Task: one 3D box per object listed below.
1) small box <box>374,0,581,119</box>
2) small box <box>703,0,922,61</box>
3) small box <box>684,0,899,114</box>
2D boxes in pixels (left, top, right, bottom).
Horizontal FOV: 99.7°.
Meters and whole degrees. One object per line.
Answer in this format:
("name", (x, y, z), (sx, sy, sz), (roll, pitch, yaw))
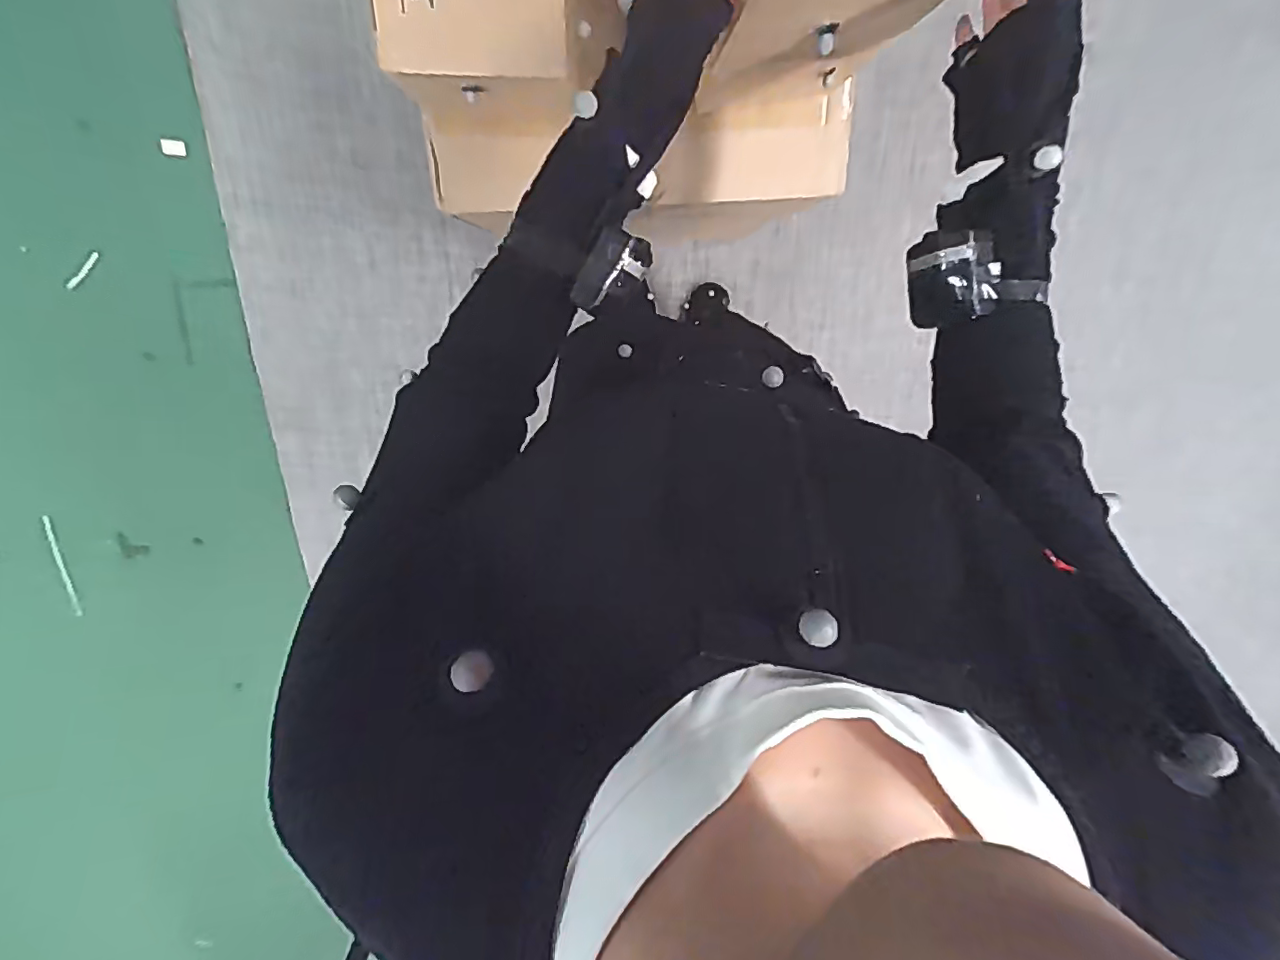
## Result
("small box", (-0.156, -0.487, 0.555), (0.179, 0.176, 0.168), (0, 112, -2))
("small box", (0.139, -0.447, 0.407), (0.168, 0.176, 0.179), (-7, 112, 0))
("small box", (0.144, -0.507, 0.559), (0.179, 0.176, 0.168), (-10, 111, 3))
